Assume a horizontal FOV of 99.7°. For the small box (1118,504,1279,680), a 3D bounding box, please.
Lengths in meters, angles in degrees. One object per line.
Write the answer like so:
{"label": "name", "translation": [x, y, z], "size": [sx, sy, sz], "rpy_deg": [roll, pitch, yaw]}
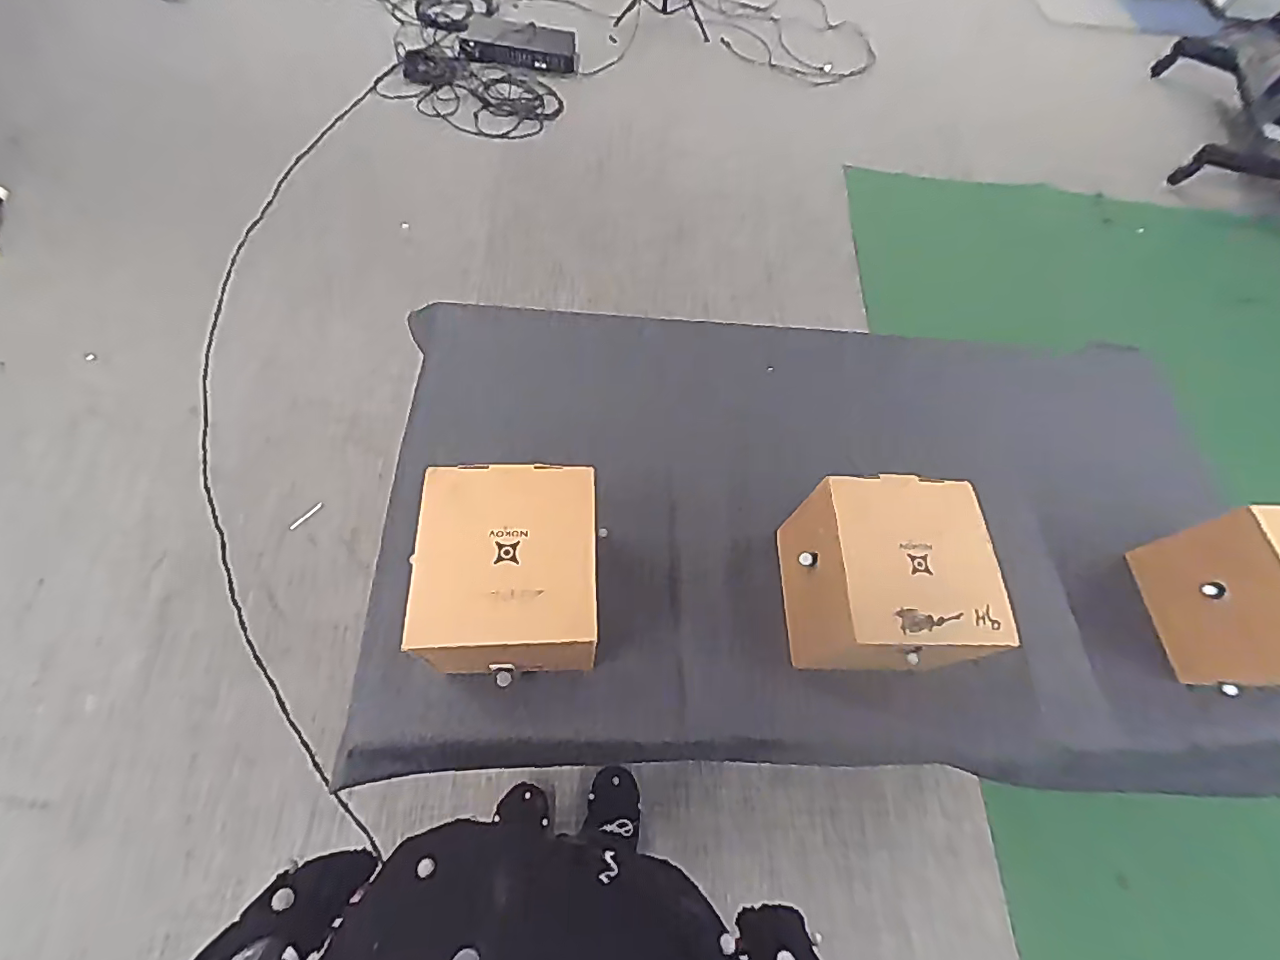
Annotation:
{"label": "small box", "translation": [0.753, 0.143, 0.658], "size": [0.168, 0.176, 0.179], "rpy_deg": [2, 62, -3]}

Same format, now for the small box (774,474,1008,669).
{"label": "small box", "translation": [0.264, 0.111, 0.620], "size": [0.168, 0.176, 0.179], "rpy_deg": [2, 63, -5]}

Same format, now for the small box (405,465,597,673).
{"label": "small box", "translation": [-0.133, 0.099, 0.576], "size": [0.168, 0.176, 0.179], "rpy_deg": [-1, 63, -7]}
